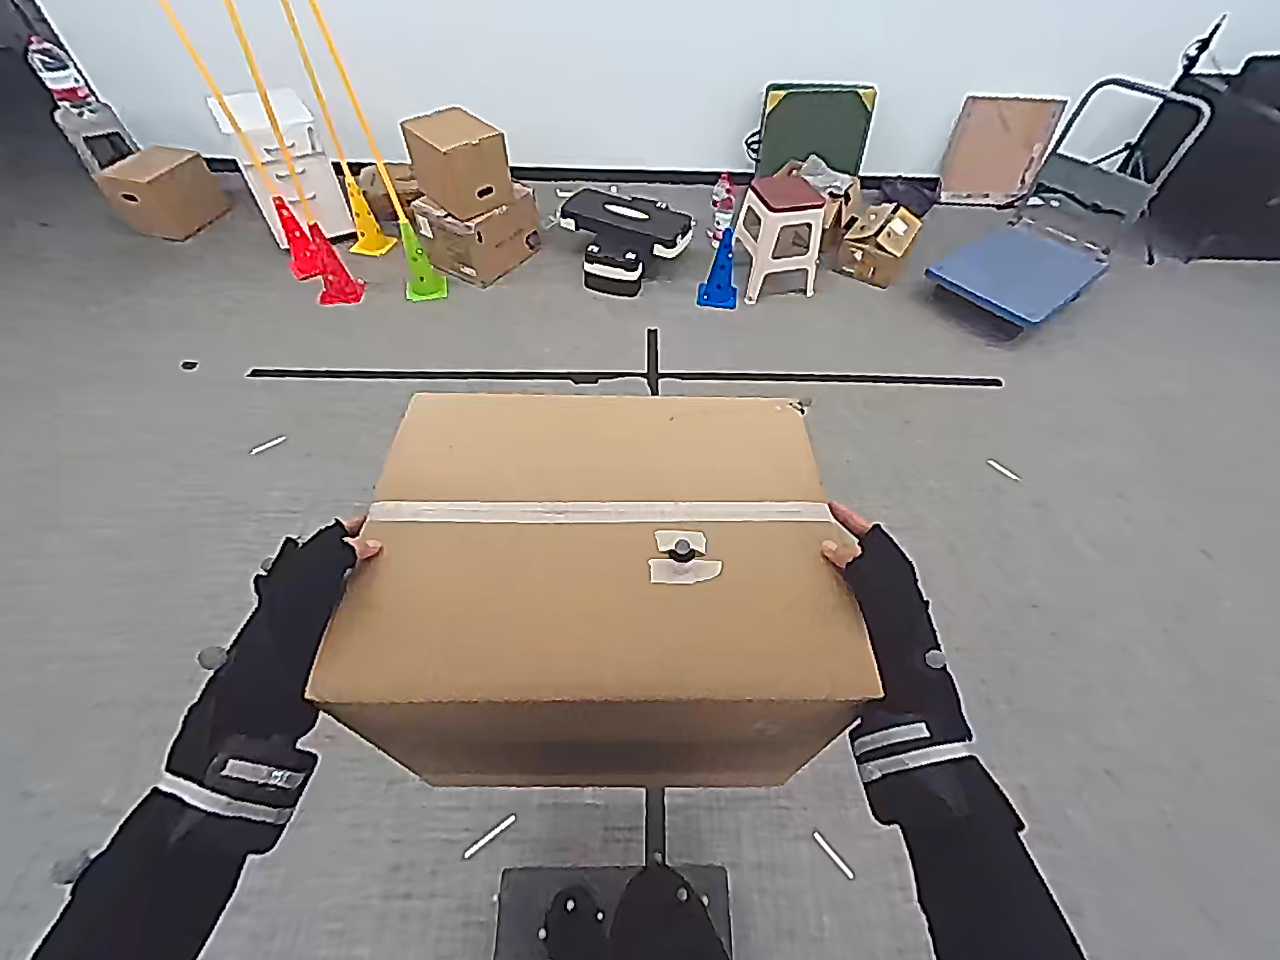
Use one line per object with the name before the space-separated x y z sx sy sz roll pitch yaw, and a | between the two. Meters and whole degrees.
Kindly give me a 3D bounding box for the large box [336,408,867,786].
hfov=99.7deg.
large box | -0.034 0.135 0.606 0.408 0.320 0.320 1 51 -2
